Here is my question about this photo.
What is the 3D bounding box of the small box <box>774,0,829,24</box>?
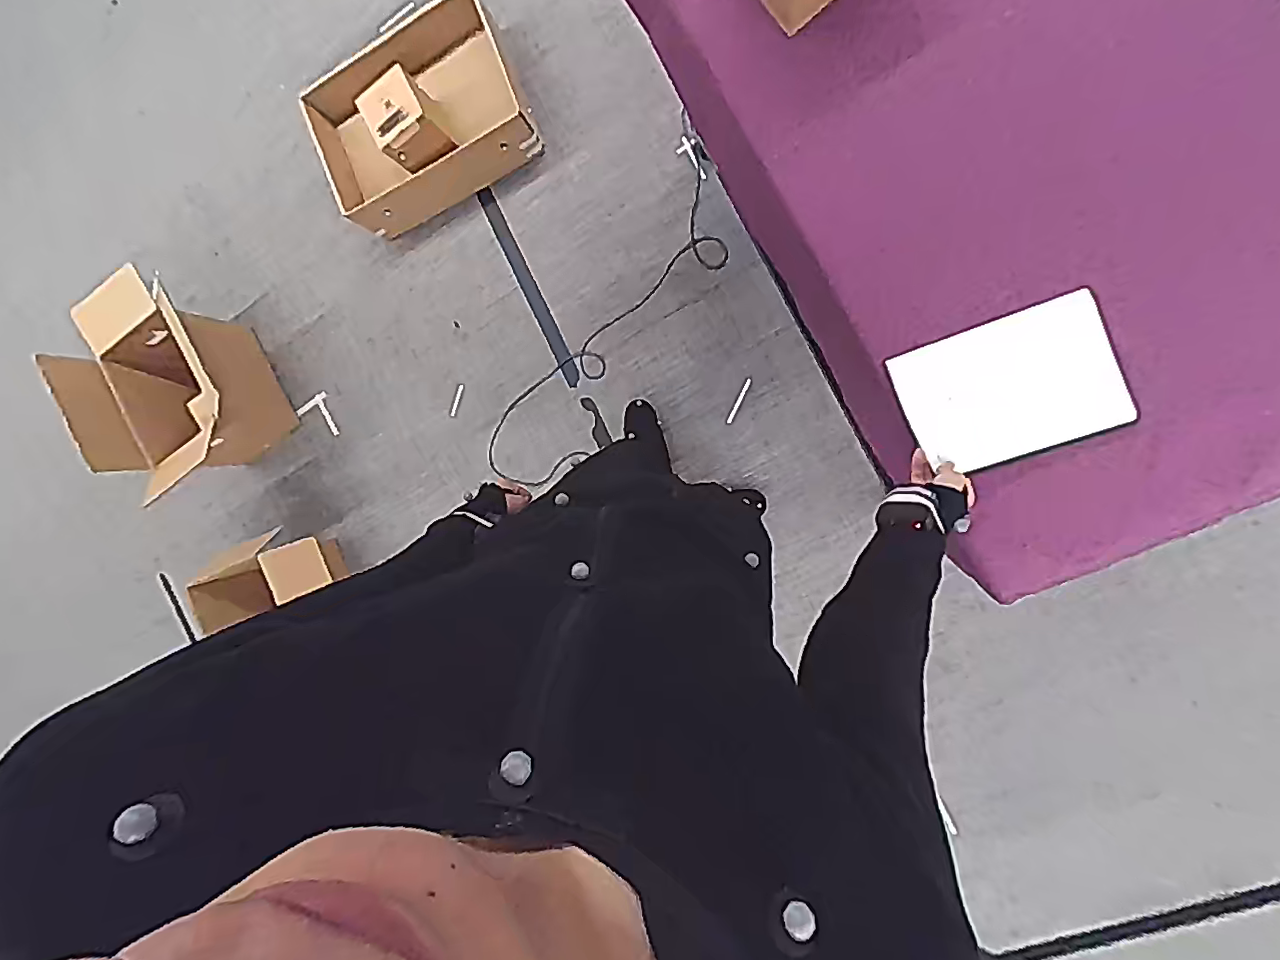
[{"bbox_3d":[0.226,-0.753,0.687,0.179,0.176,0.168,-35,87,13],"label":"small box"}]
